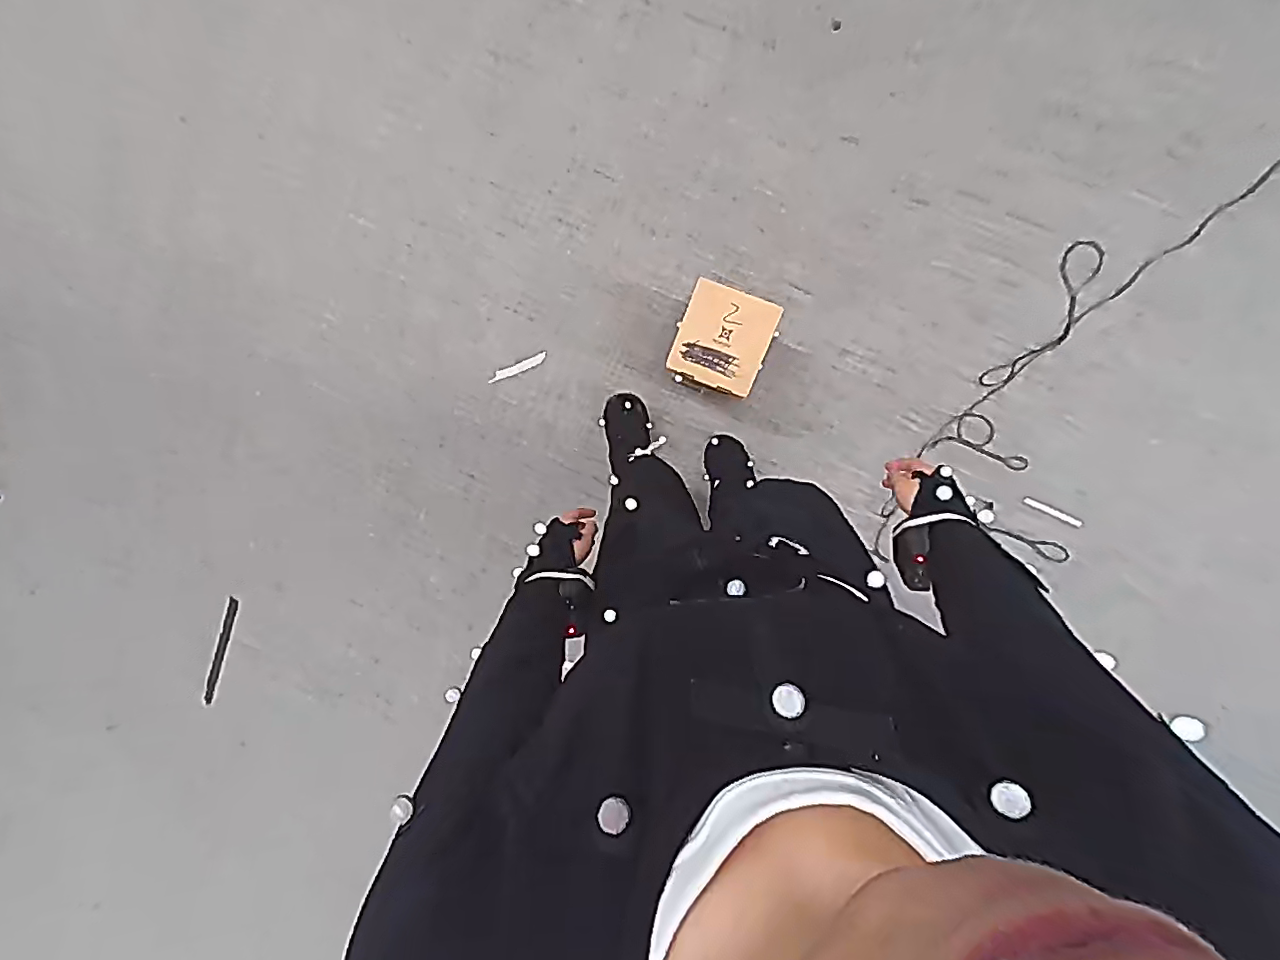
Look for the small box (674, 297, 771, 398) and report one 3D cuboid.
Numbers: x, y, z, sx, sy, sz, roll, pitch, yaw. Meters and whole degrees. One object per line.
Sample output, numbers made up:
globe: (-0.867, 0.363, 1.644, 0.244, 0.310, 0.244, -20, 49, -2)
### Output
small box: (0.182, -0.292, 1.222, 0.168, 0.176, 0.179, 17, 101, 4)
